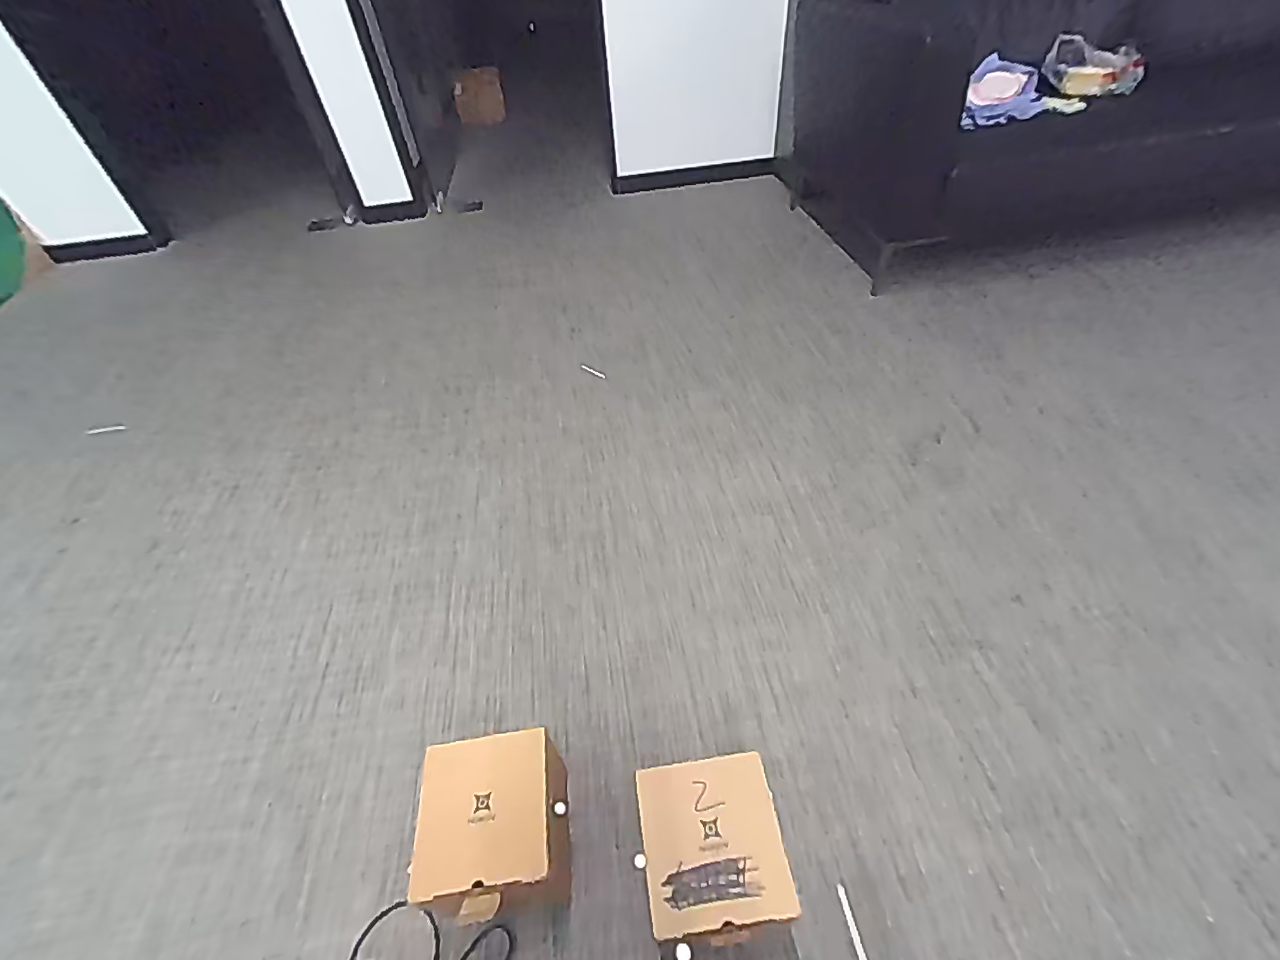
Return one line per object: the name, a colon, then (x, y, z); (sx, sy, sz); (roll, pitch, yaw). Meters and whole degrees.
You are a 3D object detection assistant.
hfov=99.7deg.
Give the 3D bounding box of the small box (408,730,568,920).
small box: (-0.195, 0.476, 0.746); (0.168, 0.176, 0.179); (-8, 46, -3)
